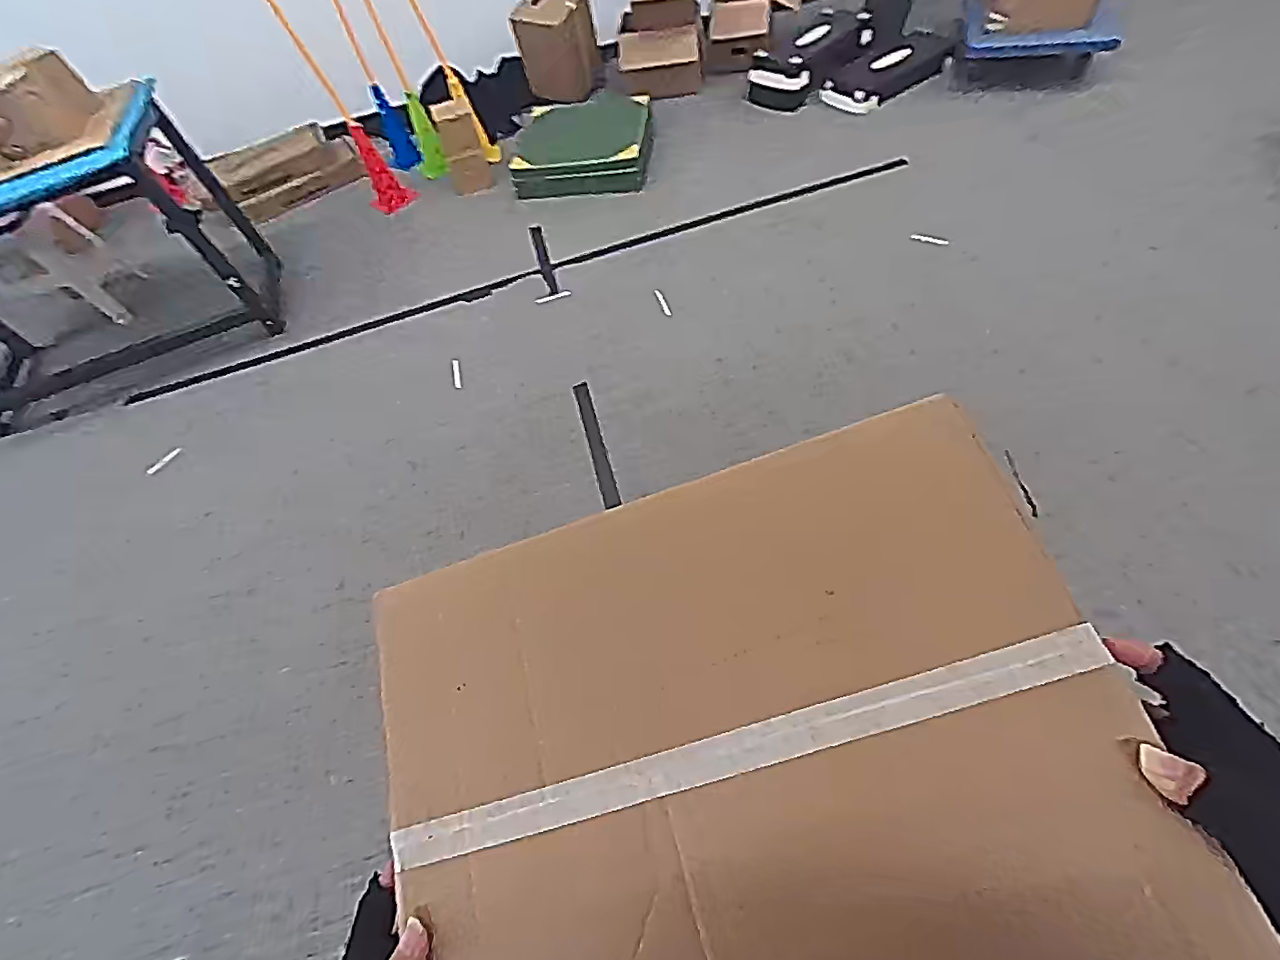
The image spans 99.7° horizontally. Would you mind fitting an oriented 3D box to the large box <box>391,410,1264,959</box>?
[{"bbox_3d":[0.083,0.203,0.443,0.408,0.320,0.320,-20,67,7],"label":"large box"}]
